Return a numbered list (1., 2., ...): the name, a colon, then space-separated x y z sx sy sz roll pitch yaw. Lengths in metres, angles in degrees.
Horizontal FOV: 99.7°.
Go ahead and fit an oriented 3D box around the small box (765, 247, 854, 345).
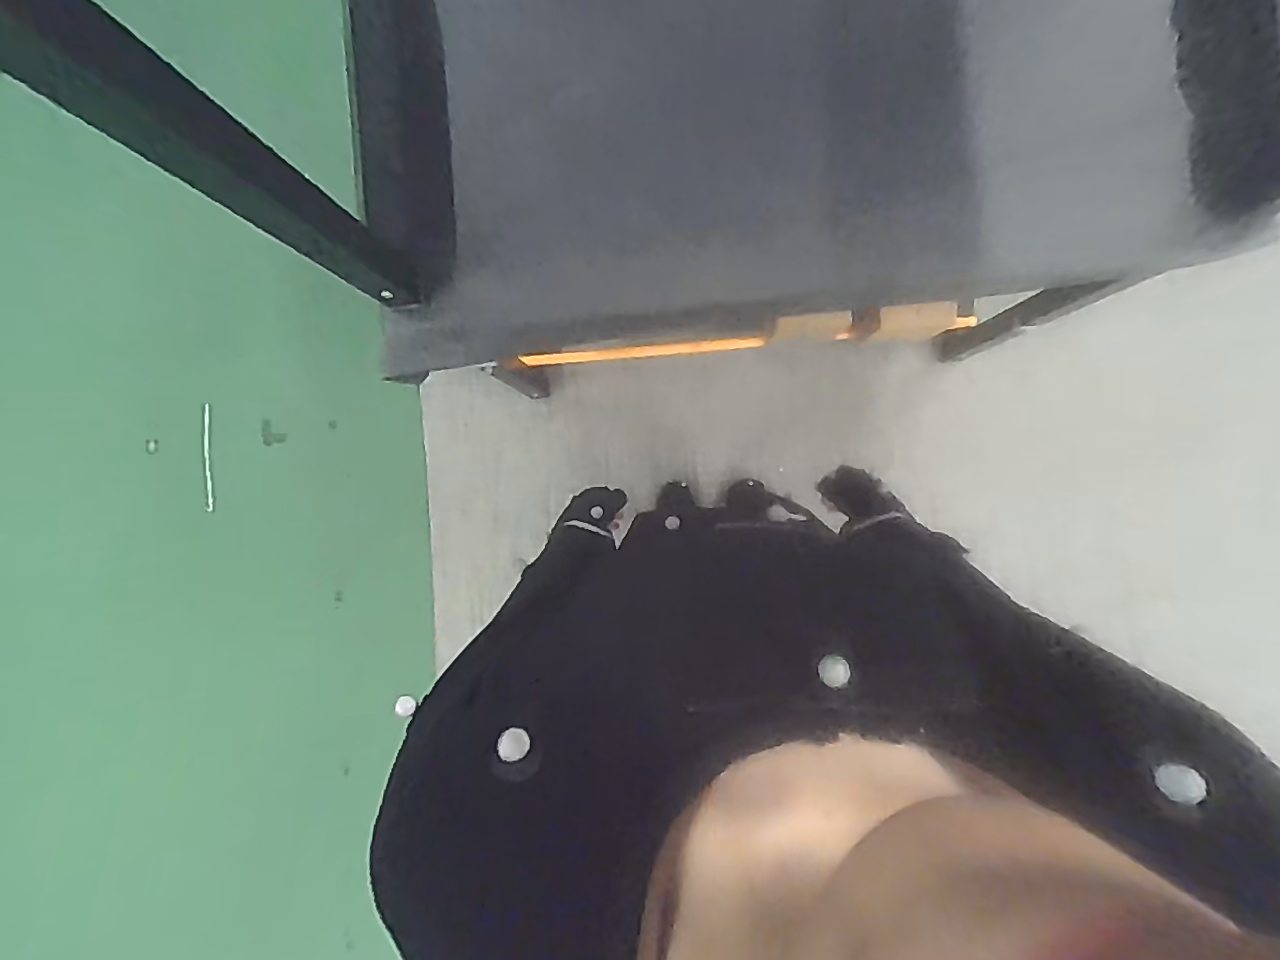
1. small box: 0.395 -0.424 1.277 0.168 0.176 0.179 -4 90 4
